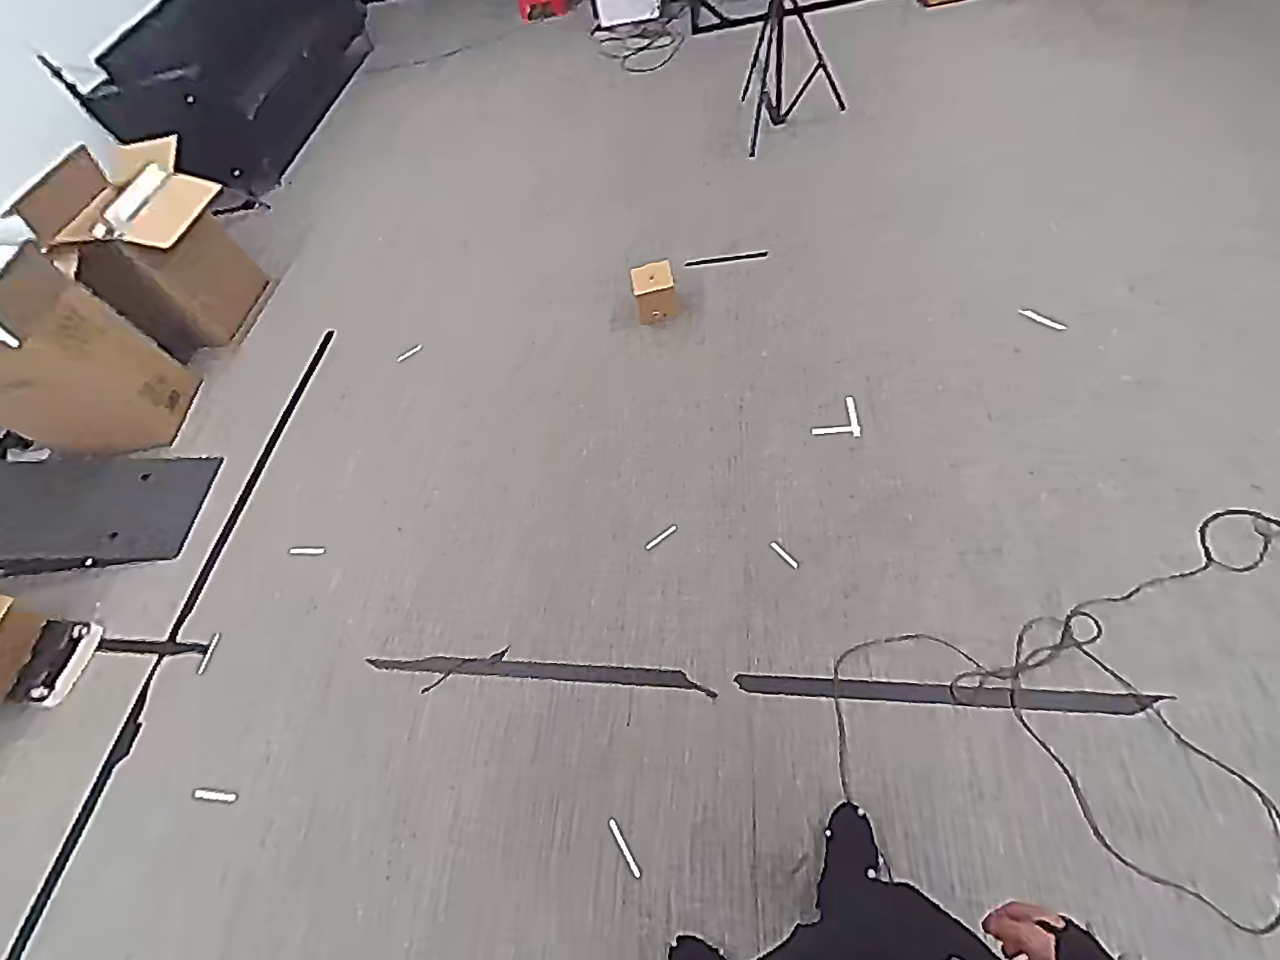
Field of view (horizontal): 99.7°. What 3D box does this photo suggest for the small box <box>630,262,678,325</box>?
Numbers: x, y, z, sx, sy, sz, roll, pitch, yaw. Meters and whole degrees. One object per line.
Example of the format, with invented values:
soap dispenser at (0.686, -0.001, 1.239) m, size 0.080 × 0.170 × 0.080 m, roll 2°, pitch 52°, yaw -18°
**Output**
small box at (0.061, -0.792, 2.304) m, size 0.168 × 0.176 × 0.179 m, roll -12°, pitch 57°, yaw 7°
